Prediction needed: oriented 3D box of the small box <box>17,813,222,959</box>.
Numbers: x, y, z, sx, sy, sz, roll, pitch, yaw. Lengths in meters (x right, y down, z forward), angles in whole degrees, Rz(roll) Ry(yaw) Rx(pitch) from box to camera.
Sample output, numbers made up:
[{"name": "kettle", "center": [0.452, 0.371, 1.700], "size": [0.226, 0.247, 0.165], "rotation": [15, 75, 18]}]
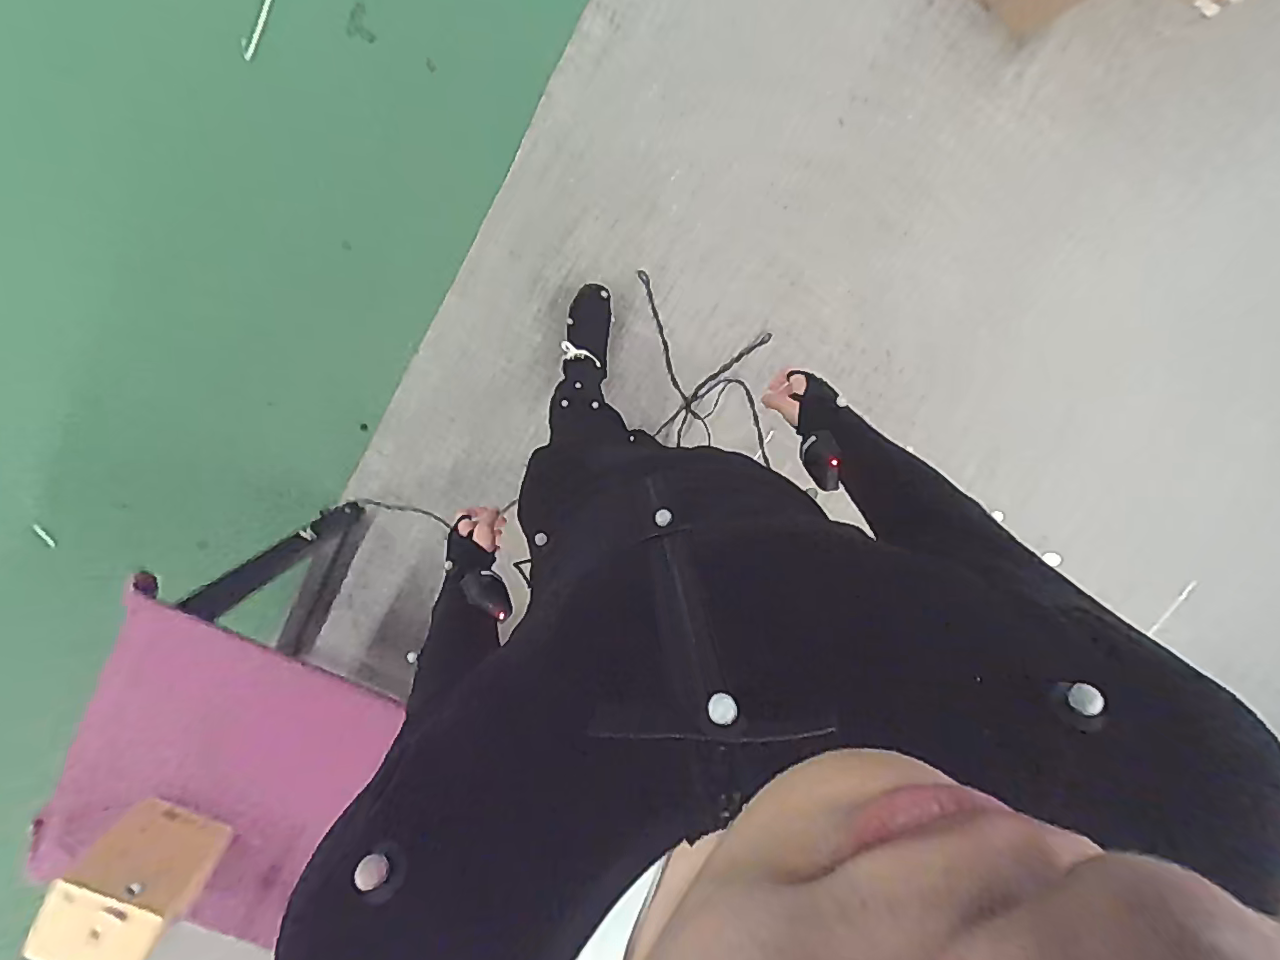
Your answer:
[{"name": "small box", "center": [-0.856, 0.712, 0.903], "size": [0.168, 0.176, 0.179], "rotation": [30, 100, -10]}]
